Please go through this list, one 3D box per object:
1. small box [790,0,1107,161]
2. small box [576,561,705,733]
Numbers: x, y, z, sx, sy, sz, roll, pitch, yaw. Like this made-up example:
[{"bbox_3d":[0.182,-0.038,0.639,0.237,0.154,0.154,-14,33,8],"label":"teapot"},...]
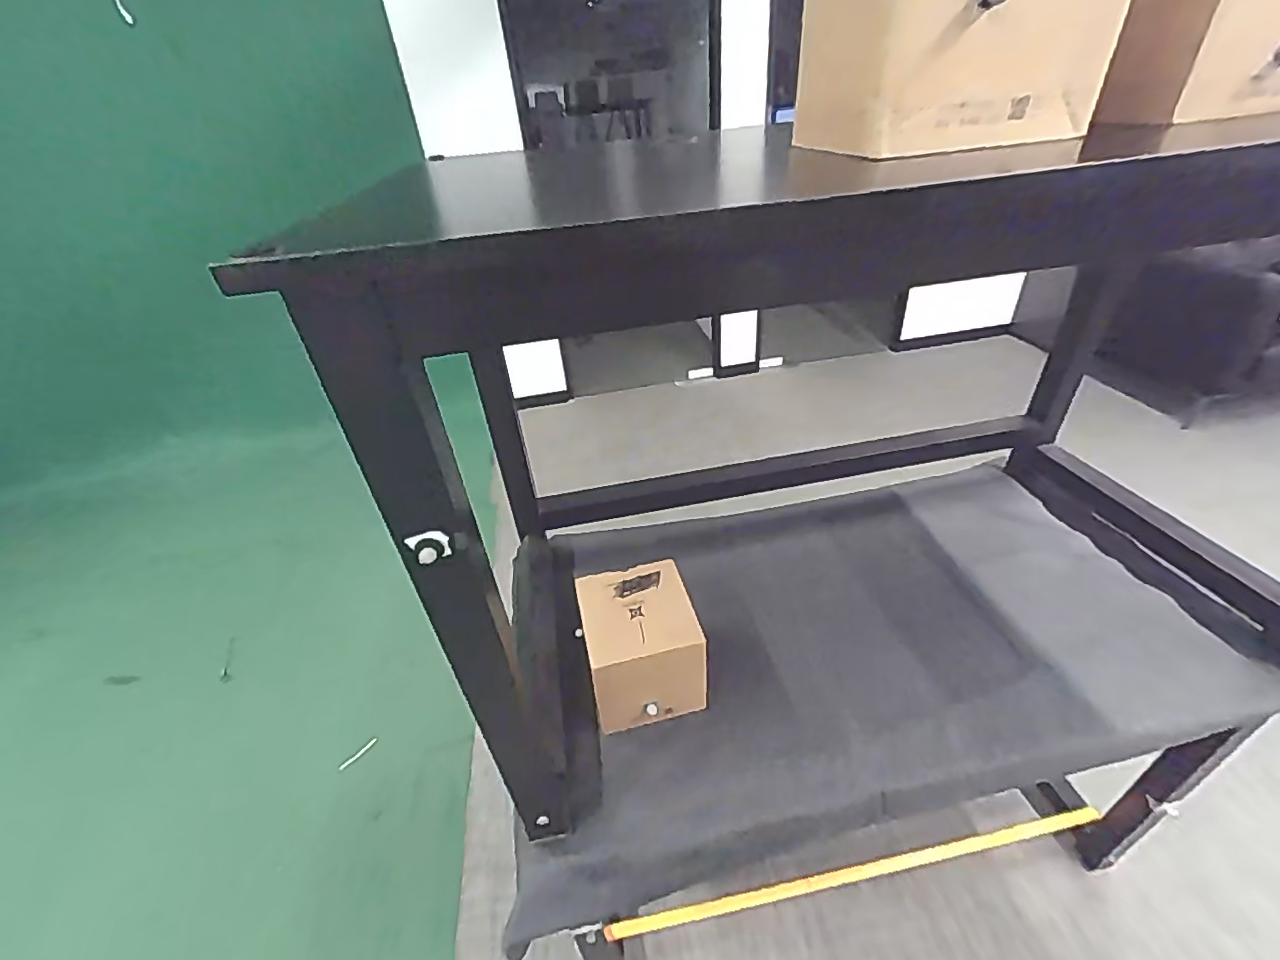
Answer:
[{"bbox_3d":[0.227,-0.355,0.422,0.168,0.176,0.179,-8,35,-3],"label":"small box"},{"bbox_3d":[-0.002,0.260,0.852,0.168,0.176,0.179,-11,36,-8],"label":"small box"}]
